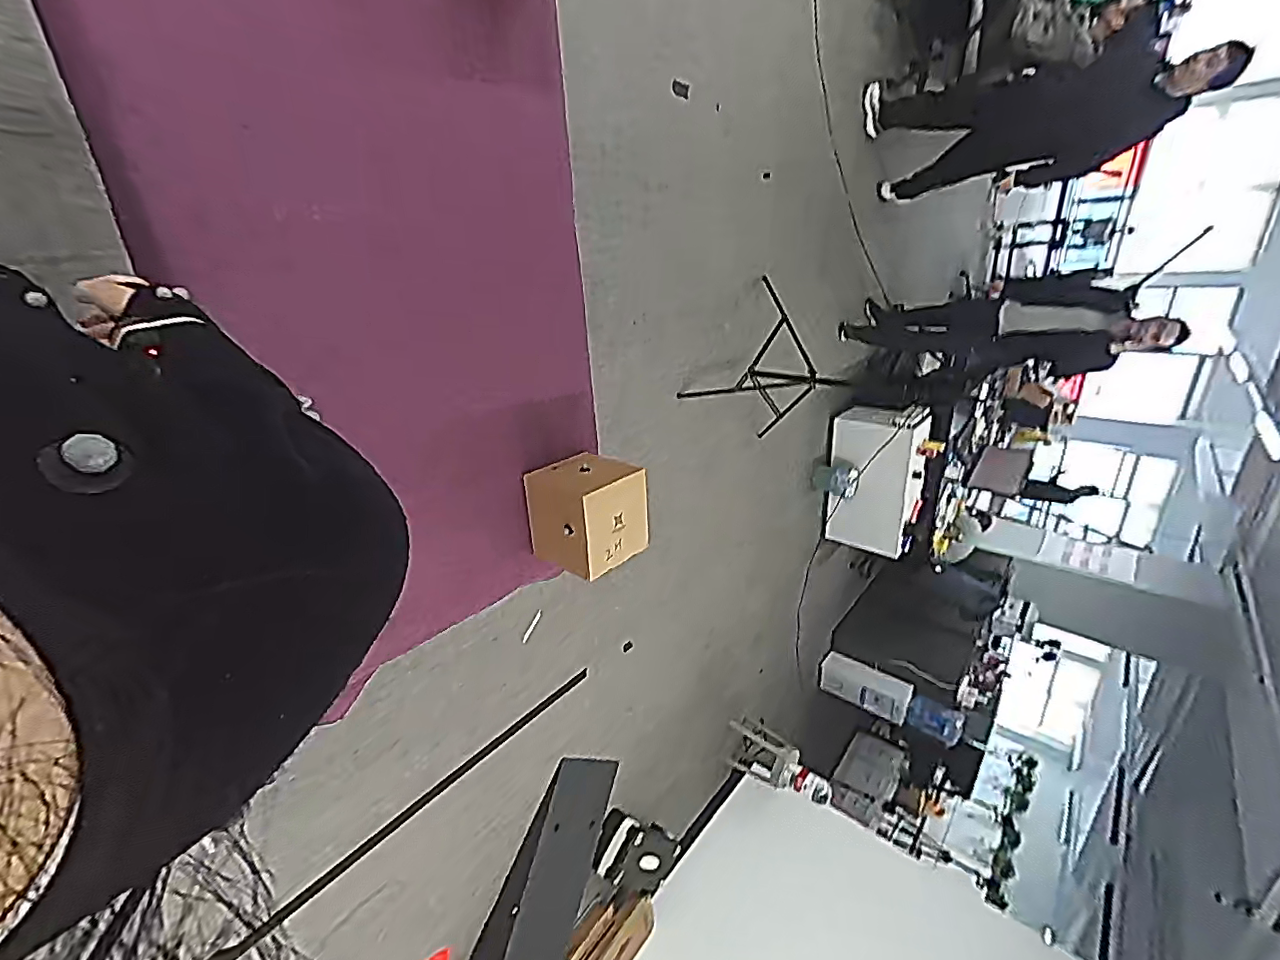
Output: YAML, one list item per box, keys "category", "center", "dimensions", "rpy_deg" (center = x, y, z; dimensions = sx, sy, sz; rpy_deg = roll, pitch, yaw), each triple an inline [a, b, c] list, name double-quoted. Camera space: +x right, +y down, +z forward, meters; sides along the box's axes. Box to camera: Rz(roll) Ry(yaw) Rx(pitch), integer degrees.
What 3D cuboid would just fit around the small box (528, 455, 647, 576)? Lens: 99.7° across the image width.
- category: "small box"
  center: [-0.104, 0.057, 1.064]
  dimensions: [0.168, 0.176, 0.179]
  rpy_deg: [-25, 122, -43]
